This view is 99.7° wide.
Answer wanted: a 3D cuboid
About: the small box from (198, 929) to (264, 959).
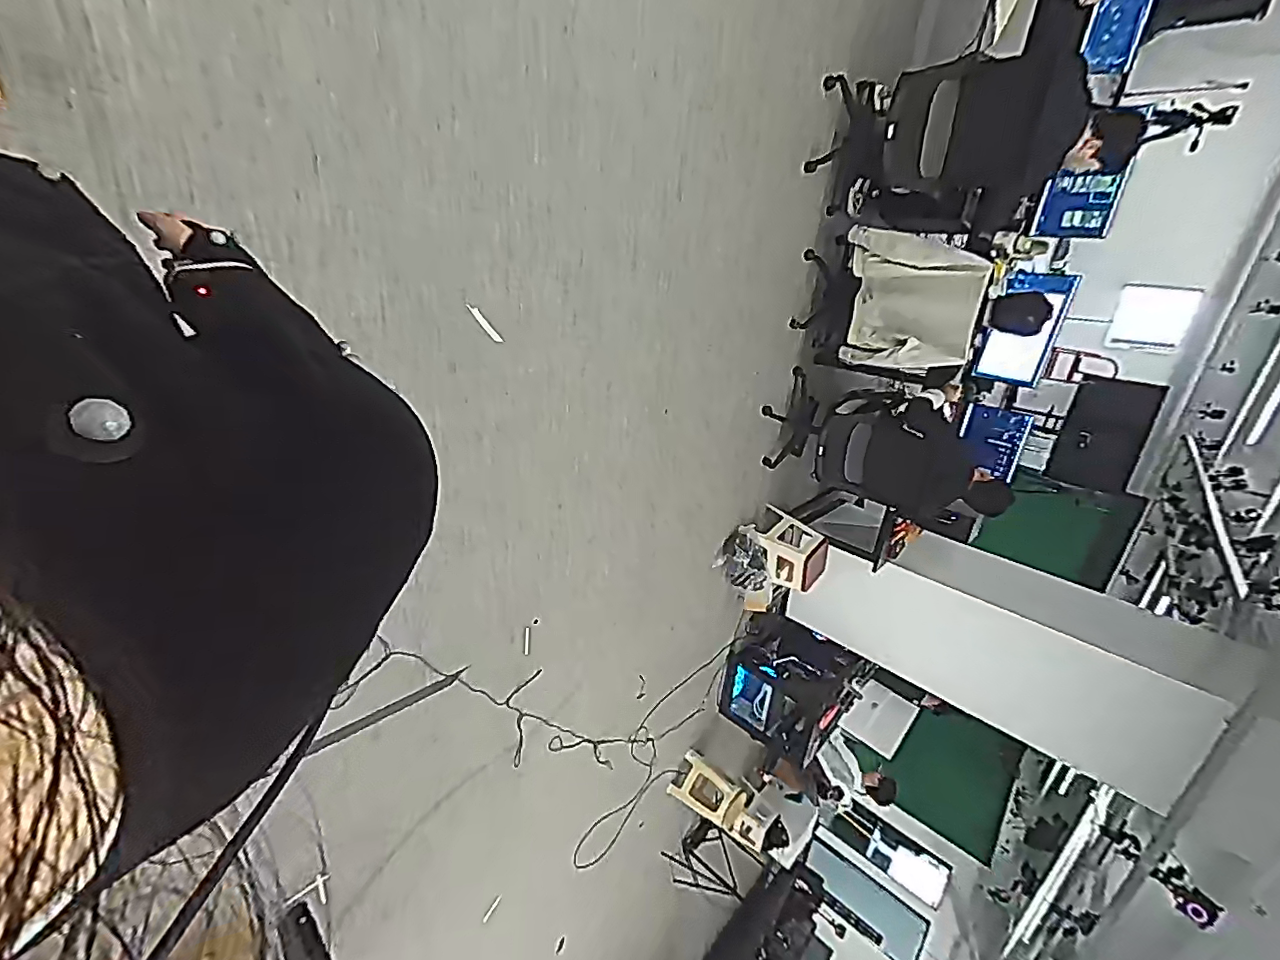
[{"bbox_3d":[-1.250,1.547,1.656,0.168,0.176,0.179,-16,121,-46],"label":"small box"}]
